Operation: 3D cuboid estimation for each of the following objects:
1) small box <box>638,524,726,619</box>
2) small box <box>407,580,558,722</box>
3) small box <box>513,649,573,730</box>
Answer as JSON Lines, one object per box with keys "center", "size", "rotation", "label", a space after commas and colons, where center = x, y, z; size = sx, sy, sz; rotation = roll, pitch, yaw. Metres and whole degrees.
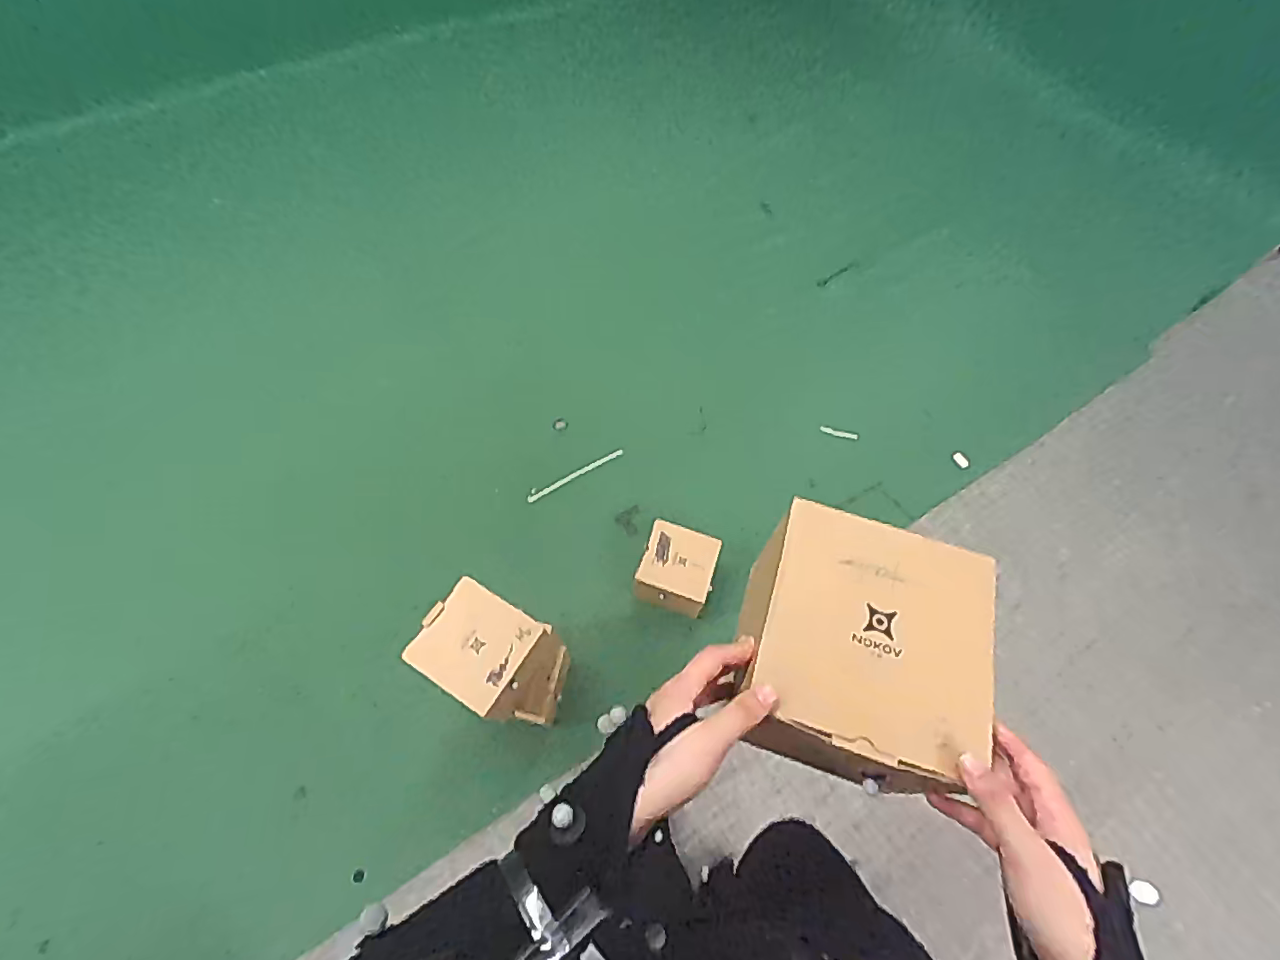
{"center": [0.100, 0.238, 1.373], "size": [0.179, 0.176, 0.168], "rotation": [18, 64, 6], "label": "small box"}
{"center": [-0.267, 0.310, 0.957], "size": [0.179, 0.176, 0.168], "rotation": [29, 66, 13], "label": "small box"}
{"center": [-0.261, 0.469, 1.244], "size": [0.179, 0.176, 0.168], "rotation": [12, 63, 5], "label": "small box"}
